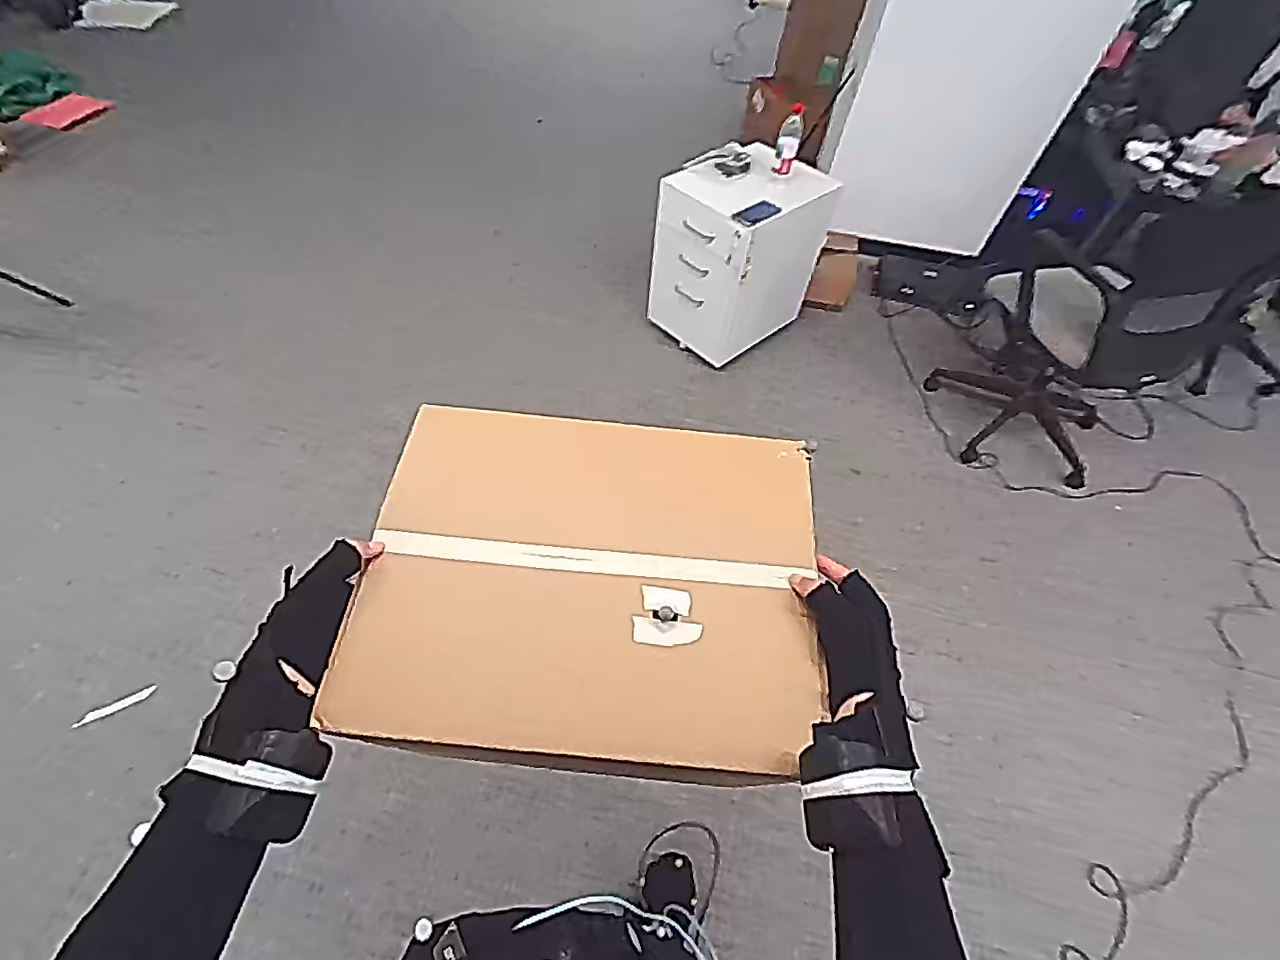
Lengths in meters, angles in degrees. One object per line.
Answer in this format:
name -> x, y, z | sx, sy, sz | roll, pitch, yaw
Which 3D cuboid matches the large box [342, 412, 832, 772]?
large box -> -0.042, 0.150, 0.634 | 0.408, 0.320, 0.320 | 6, 61, -1
